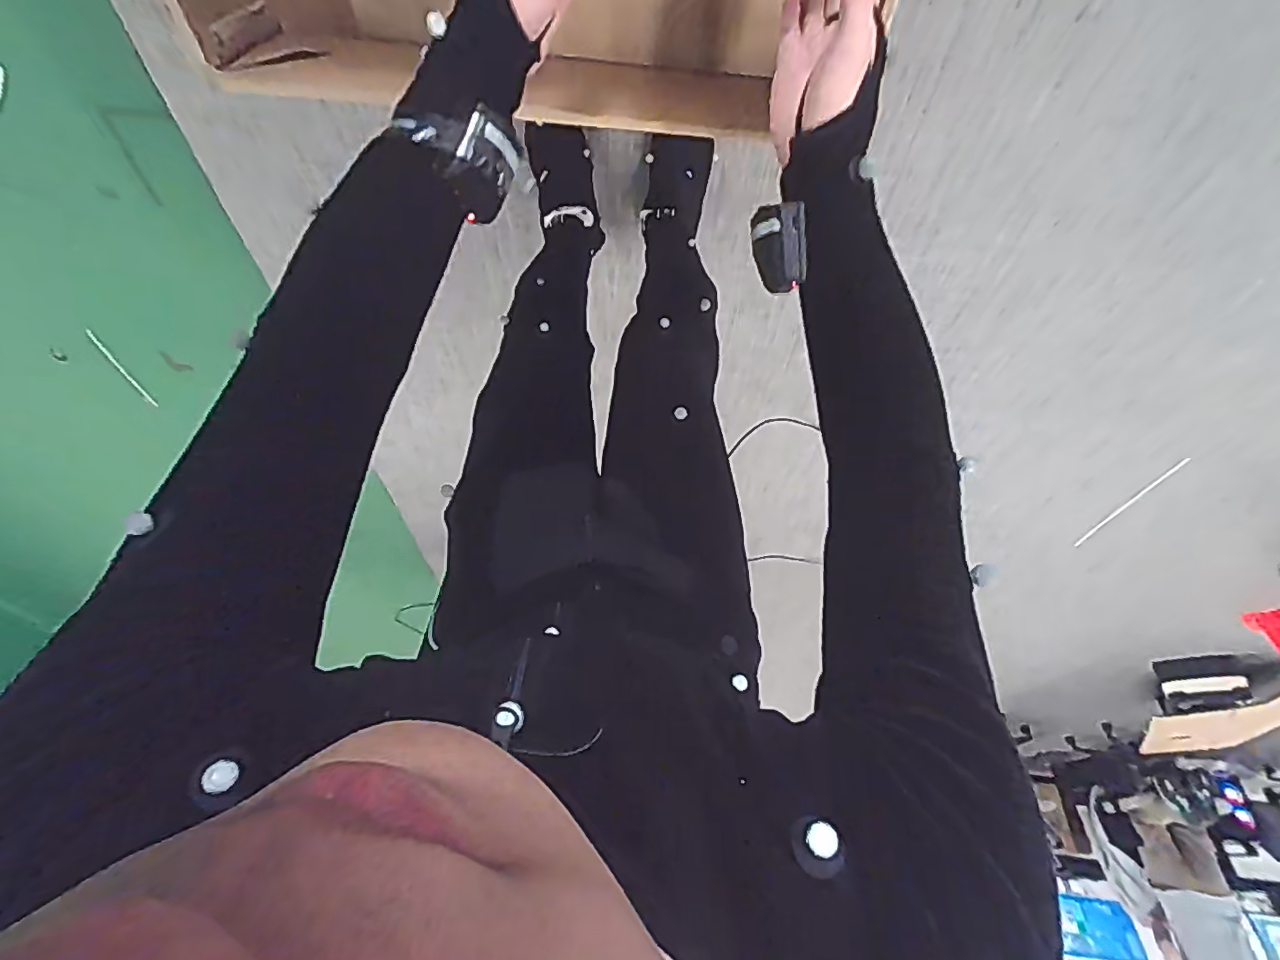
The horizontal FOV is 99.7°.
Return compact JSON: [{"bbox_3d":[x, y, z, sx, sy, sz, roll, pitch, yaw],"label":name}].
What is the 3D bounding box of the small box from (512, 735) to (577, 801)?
[{"bbox_3d":[-0.322,0.991,1.860,0.168,0.176,0.179,0,143,8],"label":"small box"}]
